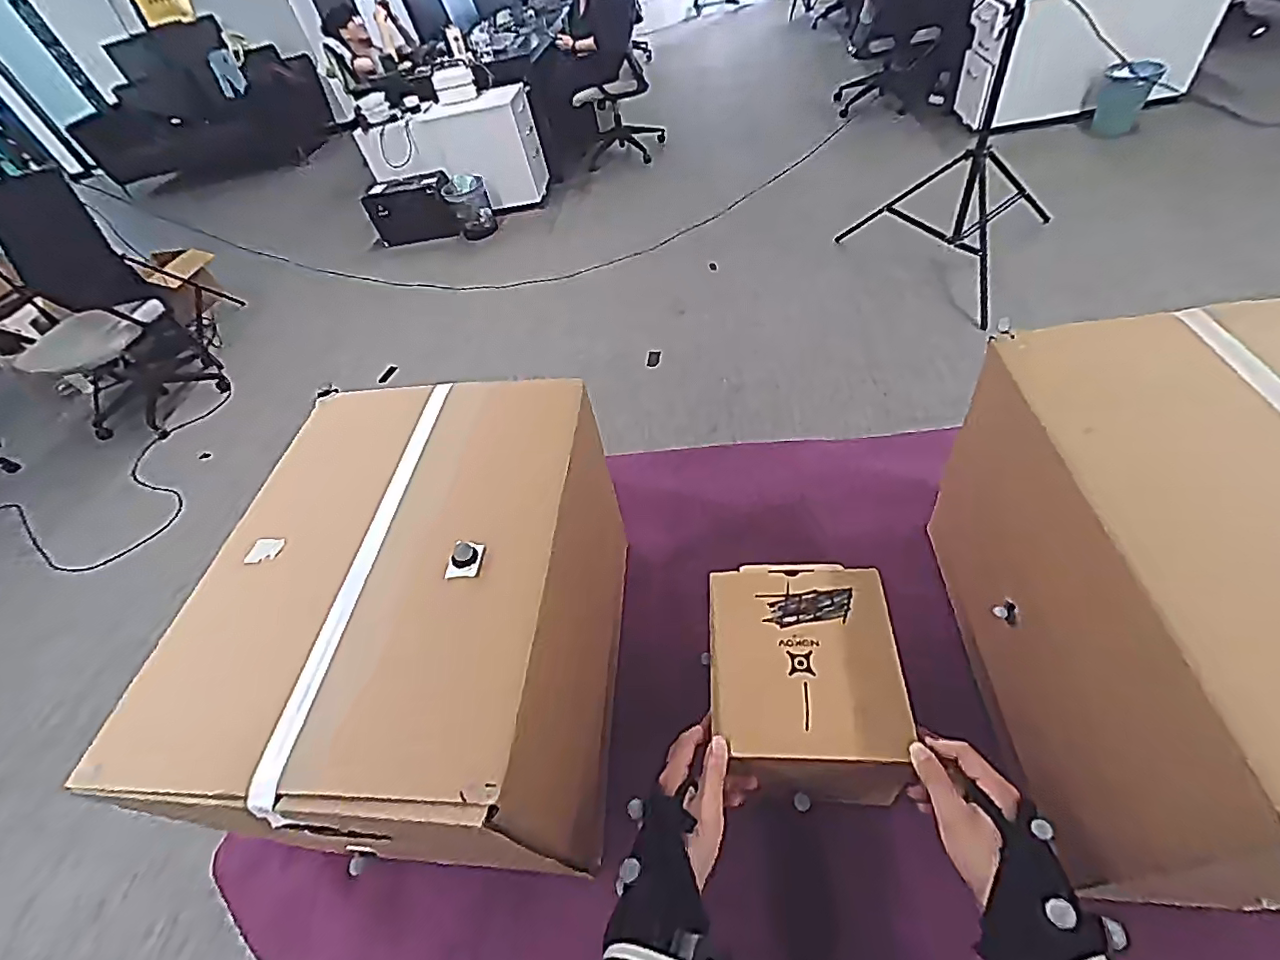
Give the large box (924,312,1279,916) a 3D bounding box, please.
[{"bbox_3d":[0.489,0.110,0.466,0.320,0.320,0.408,-4,47,10],"label":"large box"}]
